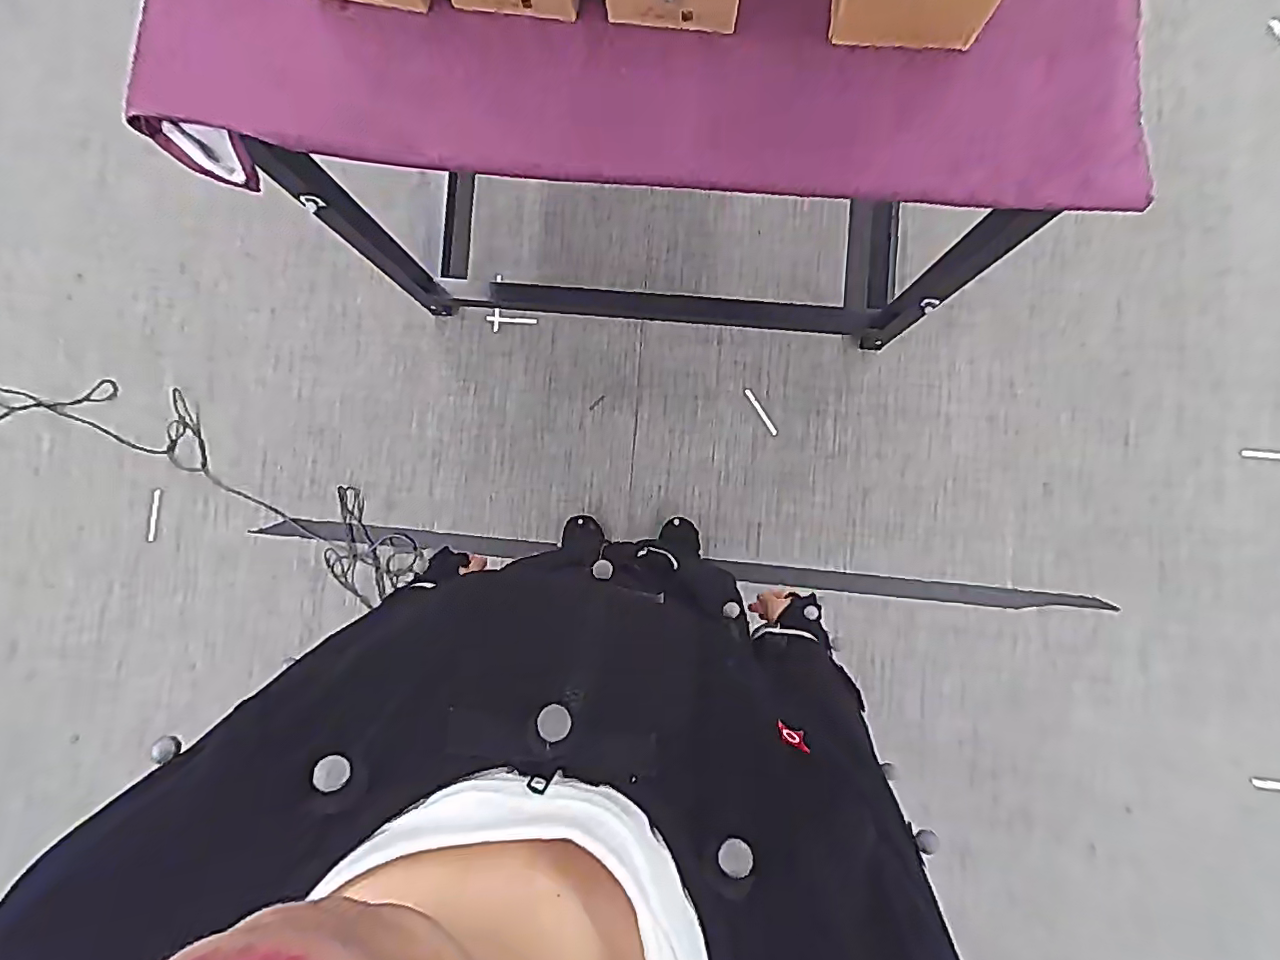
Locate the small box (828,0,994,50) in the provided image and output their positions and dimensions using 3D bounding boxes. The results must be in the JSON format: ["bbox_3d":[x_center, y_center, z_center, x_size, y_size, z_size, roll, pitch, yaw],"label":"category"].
[{"bbox_3d":[0.332,-0.634,0.612,0.179,0.176,0.168,5,85,3],"label":"small box"}]
